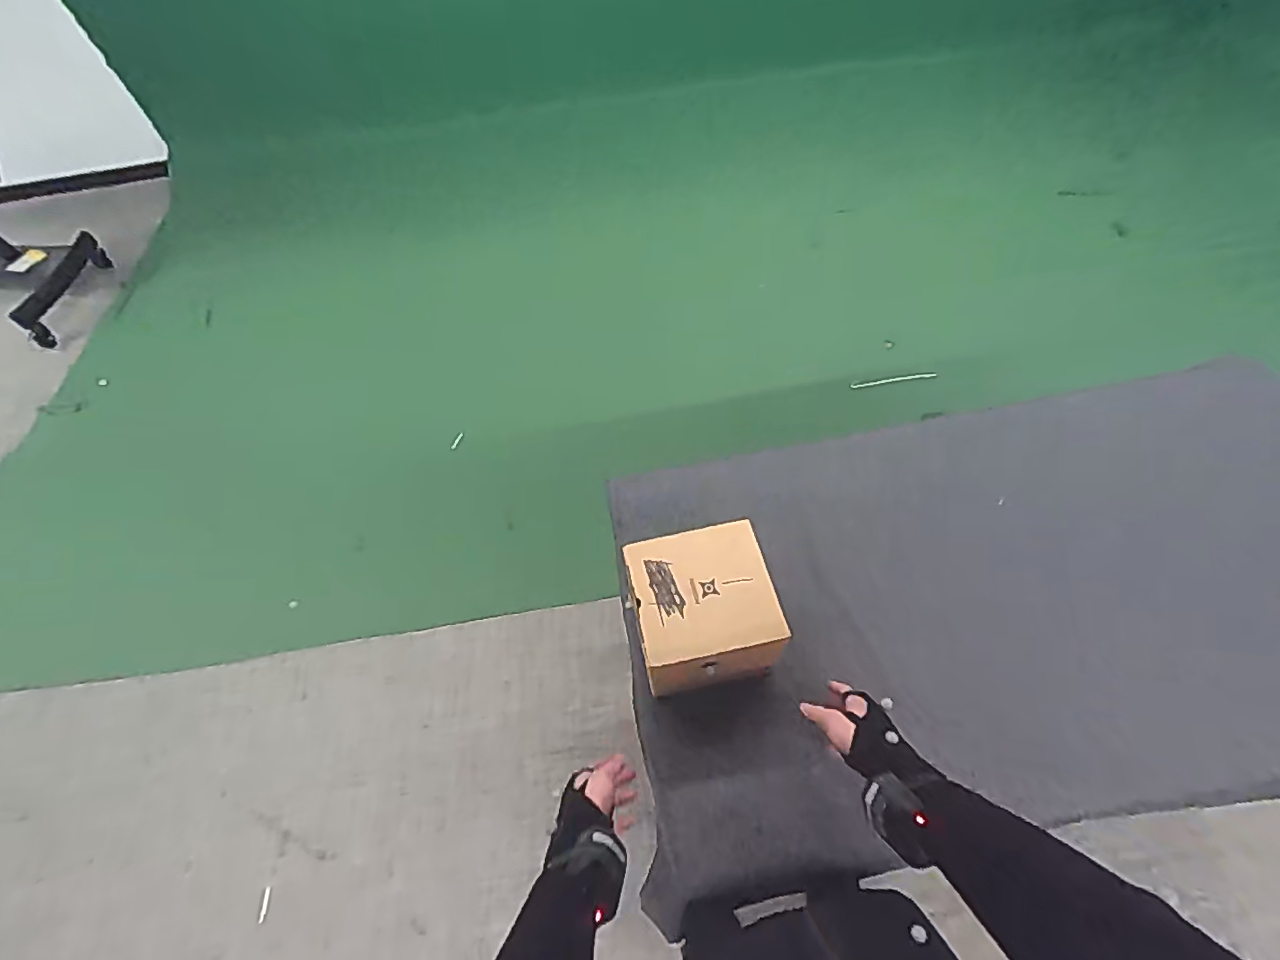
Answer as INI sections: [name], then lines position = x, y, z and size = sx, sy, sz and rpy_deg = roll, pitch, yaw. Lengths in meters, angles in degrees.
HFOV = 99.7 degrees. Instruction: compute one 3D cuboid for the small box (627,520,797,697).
[small box]
position = 0.085, 0.177, 0.726
size = 0.179, 0.176, 0.168
rpy_deg = -10, 56, -6
